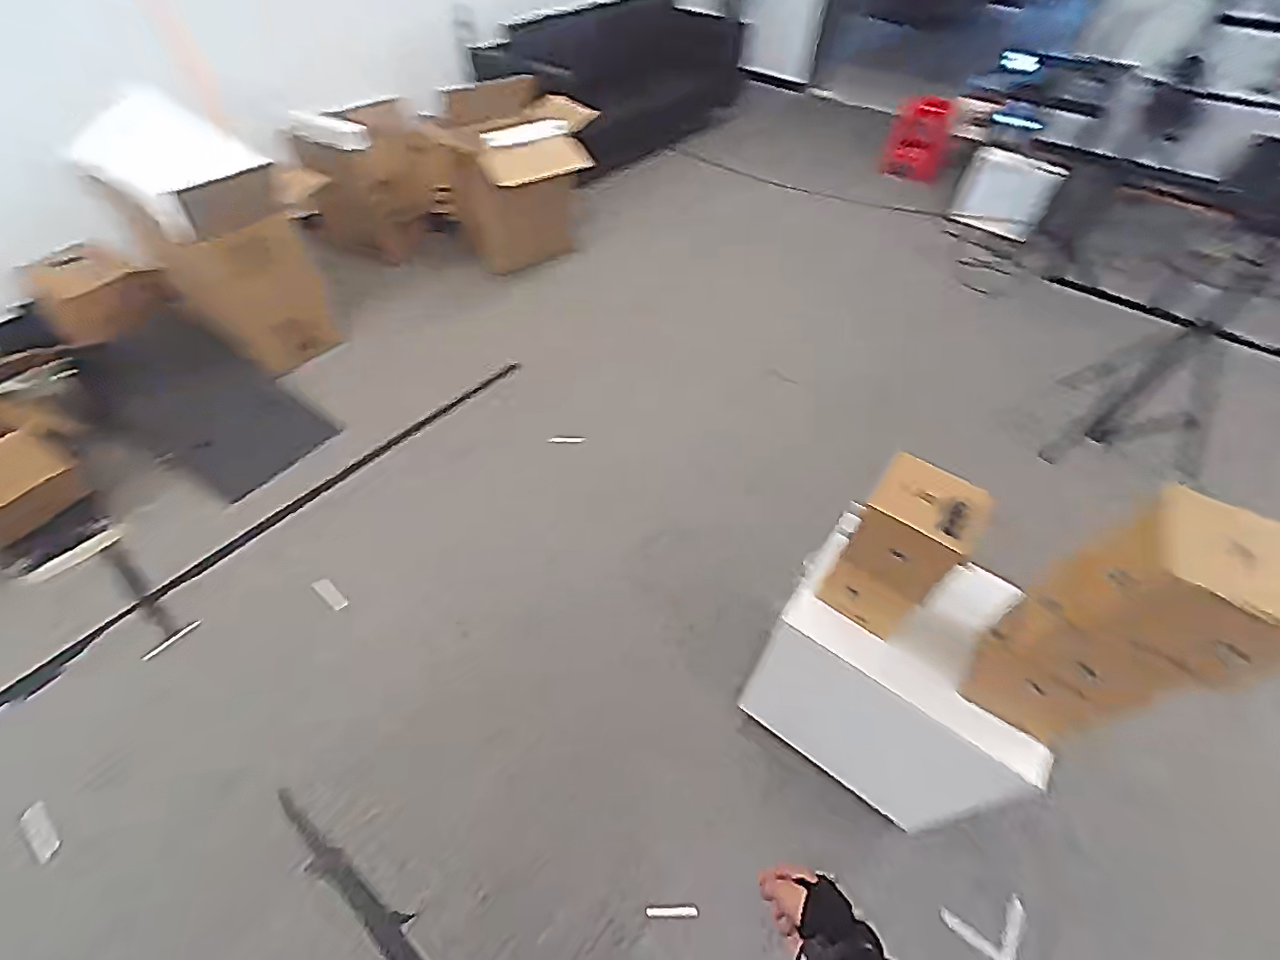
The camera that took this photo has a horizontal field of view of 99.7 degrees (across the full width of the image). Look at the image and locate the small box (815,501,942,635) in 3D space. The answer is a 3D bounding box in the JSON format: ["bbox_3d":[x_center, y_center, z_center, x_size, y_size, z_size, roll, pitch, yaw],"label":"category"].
[{"bbox_3d":[0.481,0.185,1.117,0.168,0.176,0.179,32,55,21],"label":"small box"}]

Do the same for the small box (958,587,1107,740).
[{"bbox_3d":[0.720,0.338,0.995,0.168,0.176,0.179,28,54,21],"label":"small box"}]
